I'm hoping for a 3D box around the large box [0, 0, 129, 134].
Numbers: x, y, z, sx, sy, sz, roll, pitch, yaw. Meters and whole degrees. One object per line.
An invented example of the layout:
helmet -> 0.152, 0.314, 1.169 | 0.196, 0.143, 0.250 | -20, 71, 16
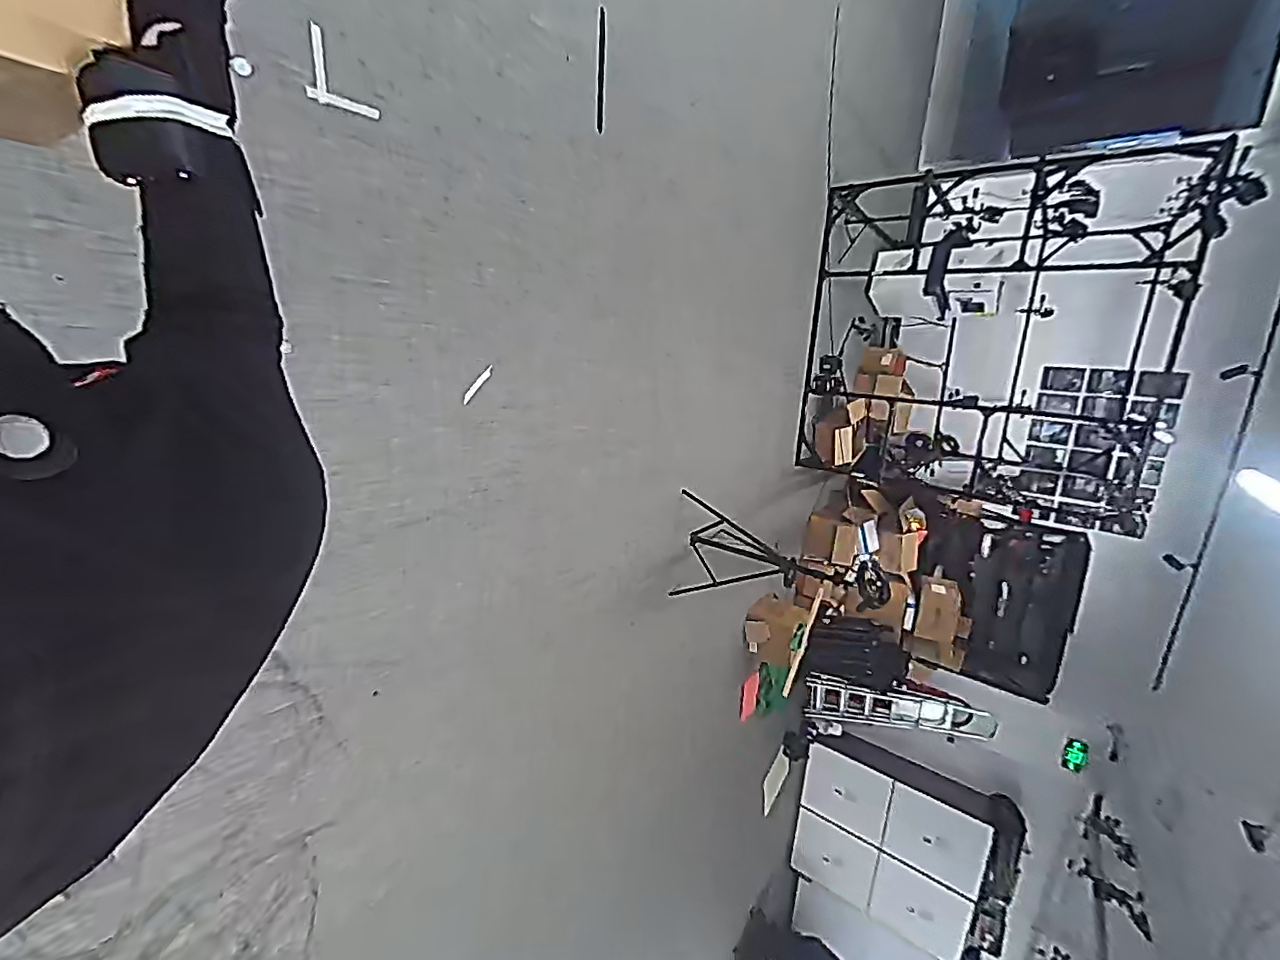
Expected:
large box -> -0.578, -0.423, 0.262 | 0.408, 0.320, 0.320 | -14, 115, -53
